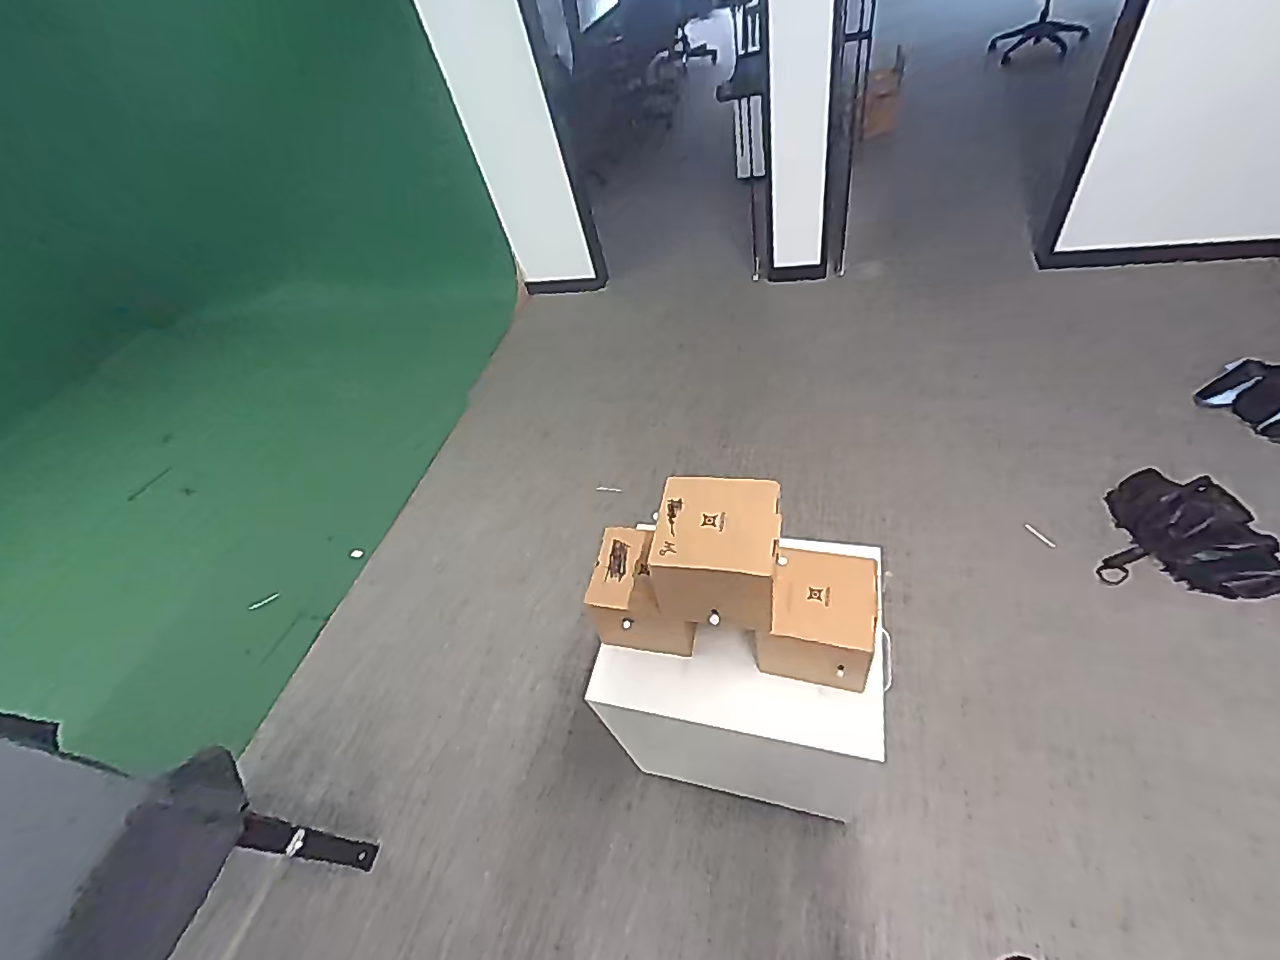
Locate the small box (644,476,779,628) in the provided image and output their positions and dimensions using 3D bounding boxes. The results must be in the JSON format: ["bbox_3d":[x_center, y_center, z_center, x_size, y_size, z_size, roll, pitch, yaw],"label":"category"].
[{"bbox_3d":[0.119,0.115,0.840,0.179,0.176,0.168,4,51,15],"label":"small box"}]

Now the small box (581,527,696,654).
[{"bbox_3d":[0.012,0.206,1.006,0.179,0.176,0.168,4,52,16],"label":"small box"}]

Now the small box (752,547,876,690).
[{"bbox_3d":[0.293,0.235,0.912,0.179,0.176,0.168,4,50,20],"label":"small box"}]
